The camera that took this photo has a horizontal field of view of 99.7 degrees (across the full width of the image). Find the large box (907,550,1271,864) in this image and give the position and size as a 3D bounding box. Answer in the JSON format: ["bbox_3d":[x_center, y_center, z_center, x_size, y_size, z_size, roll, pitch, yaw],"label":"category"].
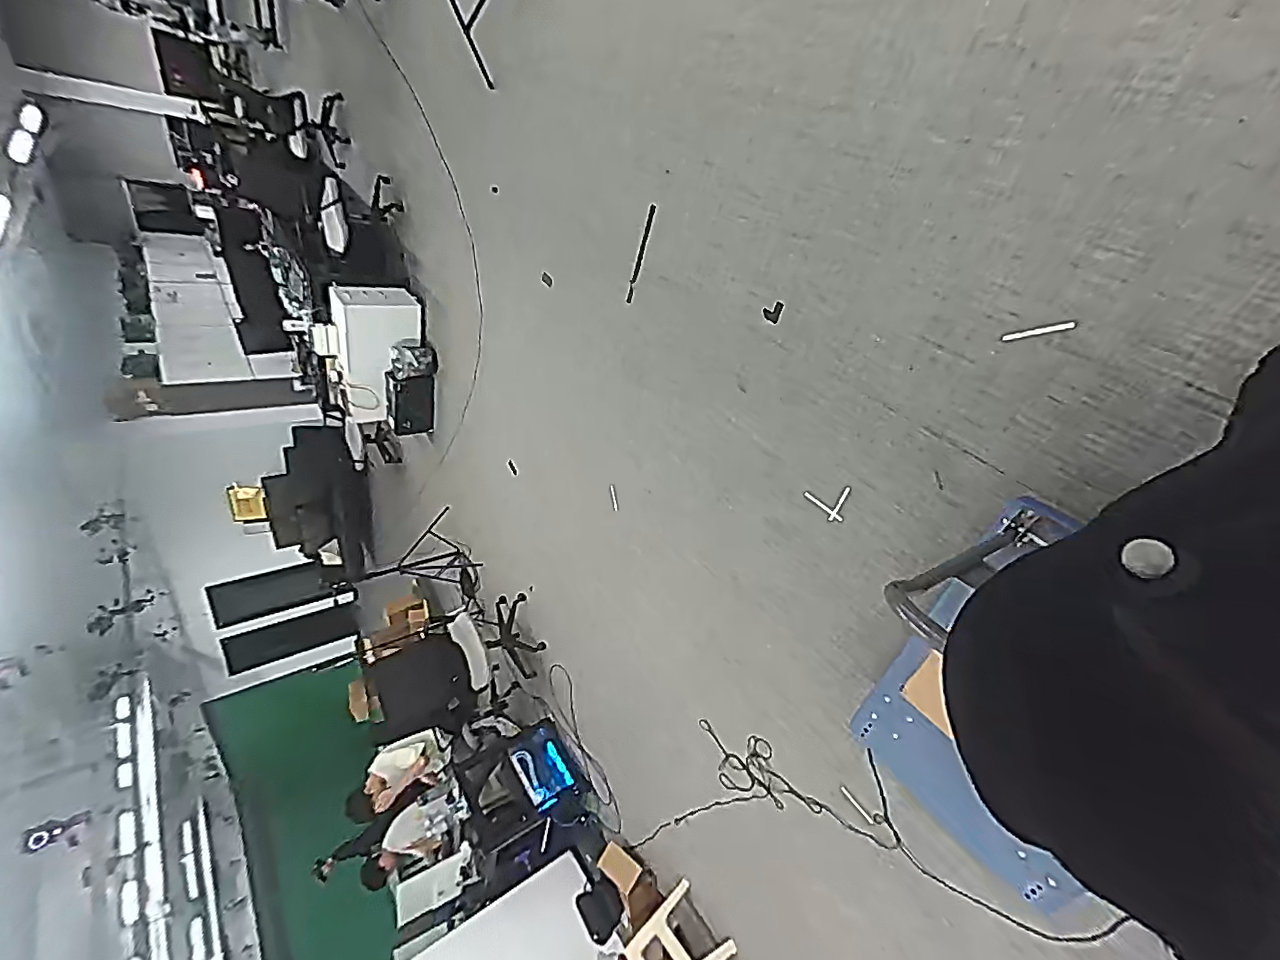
[{"bbox_3d":[0.838,0.403,1.050,0.408,0.320,0.320,44,131,38],"label":"large box"}]
